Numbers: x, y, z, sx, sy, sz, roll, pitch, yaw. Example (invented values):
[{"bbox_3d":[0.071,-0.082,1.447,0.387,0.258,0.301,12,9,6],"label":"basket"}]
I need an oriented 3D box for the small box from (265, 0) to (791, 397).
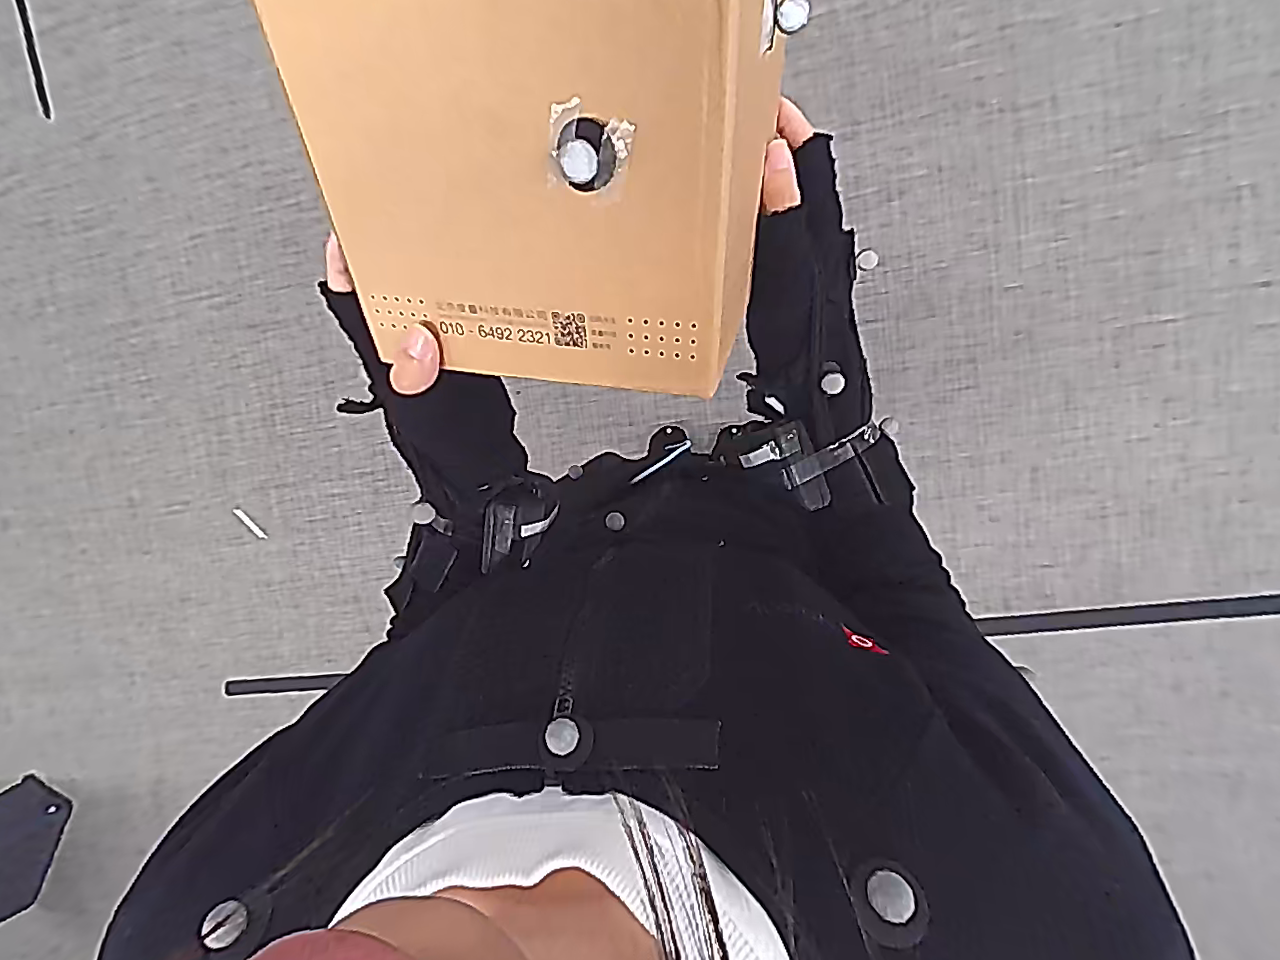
[{"bbox_3d":[-0.023,-0.157,0.262,0.168,0.179,0.176,10,130,14],"label":"small box"}]
